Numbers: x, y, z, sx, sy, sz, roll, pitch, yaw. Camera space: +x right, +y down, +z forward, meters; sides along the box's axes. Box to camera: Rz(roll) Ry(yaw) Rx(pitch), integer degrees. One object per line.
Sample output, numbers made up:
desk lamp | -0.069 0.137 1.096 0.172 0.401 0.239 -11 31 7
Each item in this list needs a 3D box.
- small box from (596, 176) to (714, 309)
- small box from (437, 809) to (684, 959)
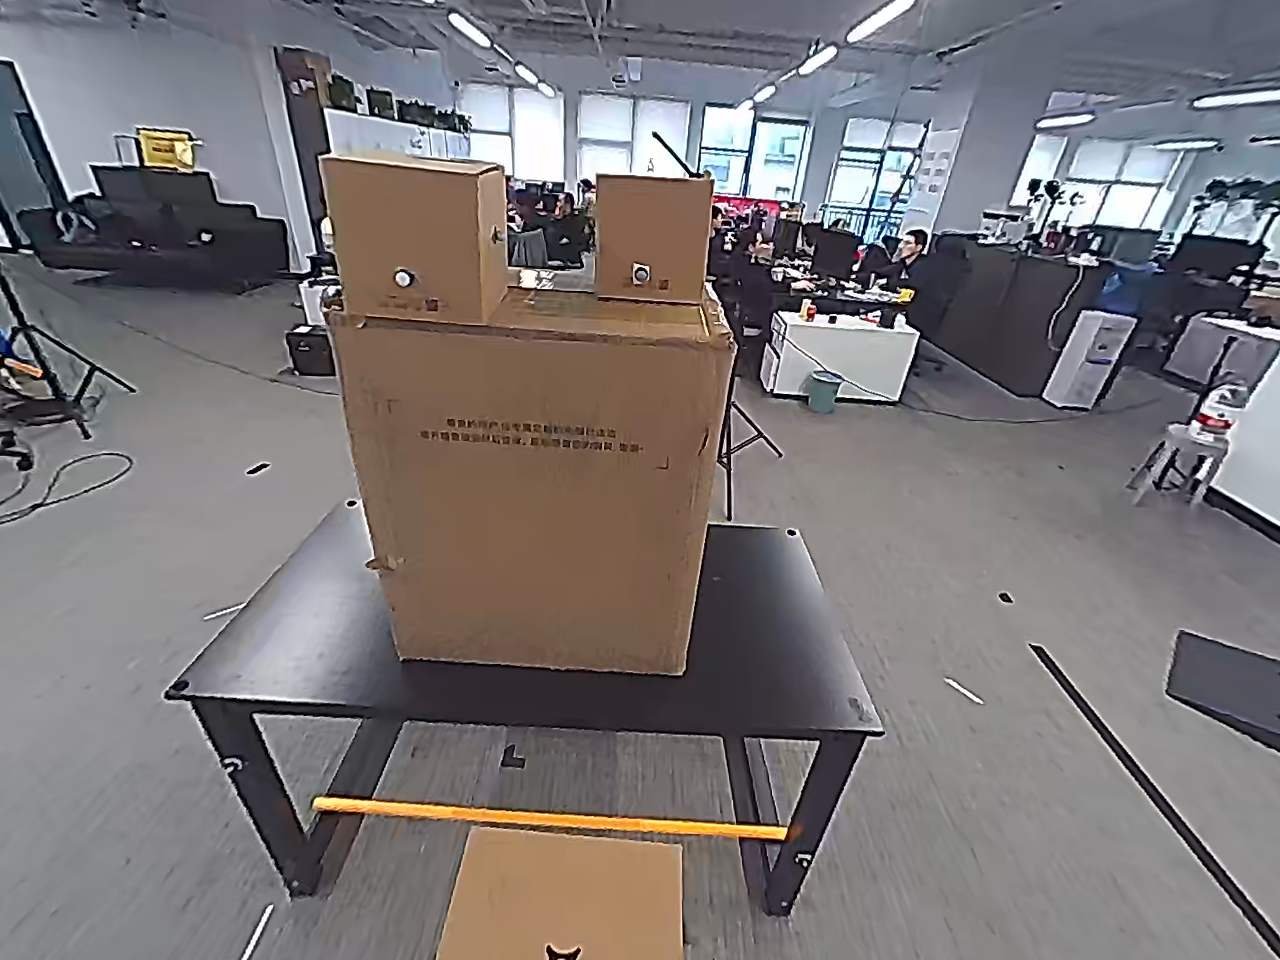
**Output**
small box | 0.022 -0.375 0.849 0.168 0.176 0.179 3 29 1
small box | -0.059 0.383 0.407 0.168 0.176 0.179 5 38 0
